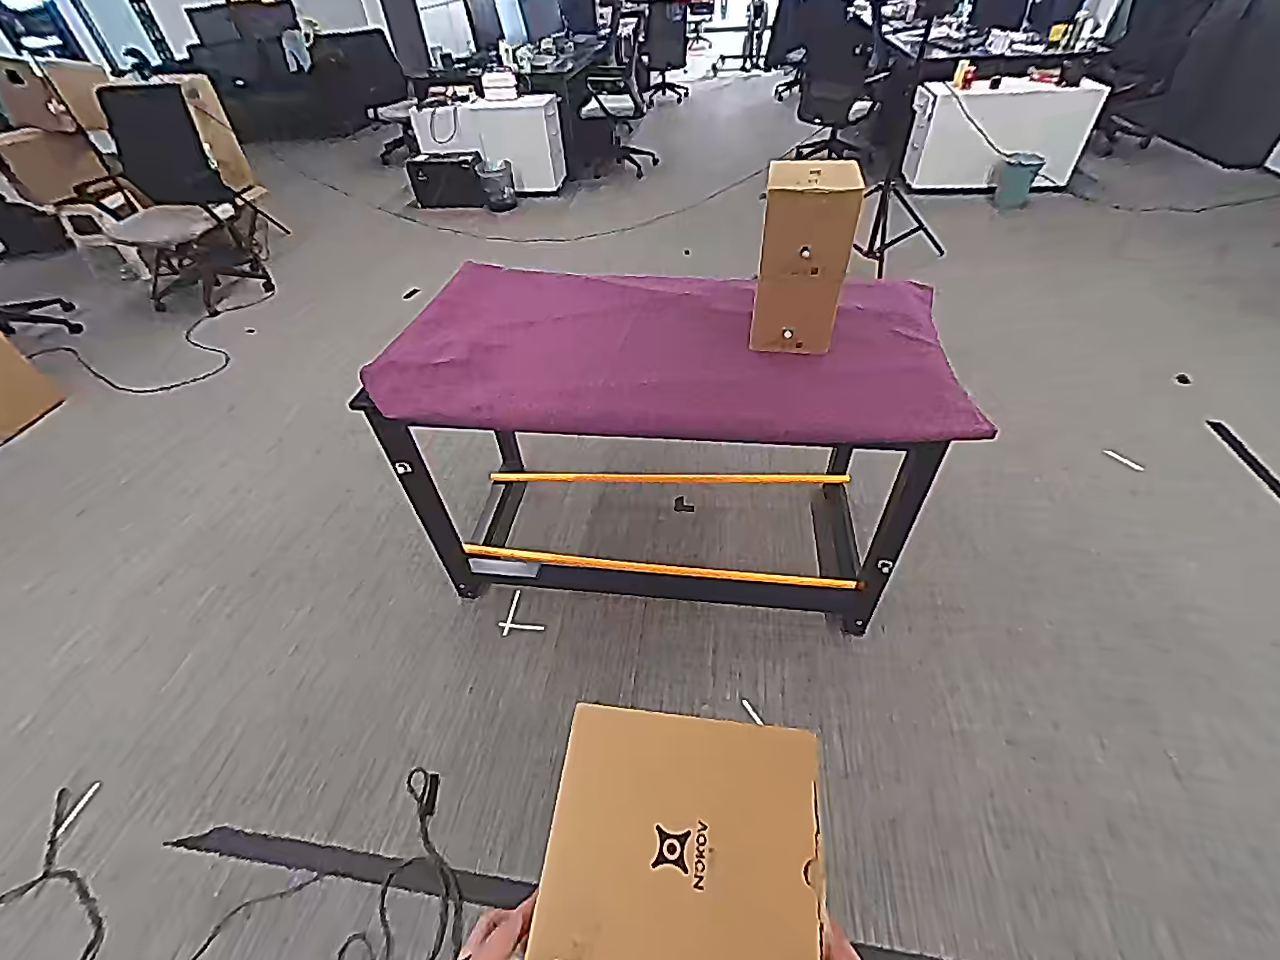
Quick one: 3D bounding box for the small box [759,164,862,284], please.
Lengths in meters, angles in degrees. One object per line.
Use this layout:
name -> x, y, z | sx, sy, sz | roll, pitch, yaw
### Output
small box -> 0.328, -0.506, 1.067 | 0.168, 0.176, 0.179 | 5, 46, 10

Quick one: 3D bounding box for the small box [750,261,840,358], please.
small box -> 0.333, -0.389, 1.183 | 0.168, 0.176, 0.179 | 6, 46, 10

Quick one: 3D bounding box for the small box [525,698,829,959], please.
small box -> 0.040, 0.280, 0.406 | 0.179, 0.176, 0.168 | 2, 53, 12
